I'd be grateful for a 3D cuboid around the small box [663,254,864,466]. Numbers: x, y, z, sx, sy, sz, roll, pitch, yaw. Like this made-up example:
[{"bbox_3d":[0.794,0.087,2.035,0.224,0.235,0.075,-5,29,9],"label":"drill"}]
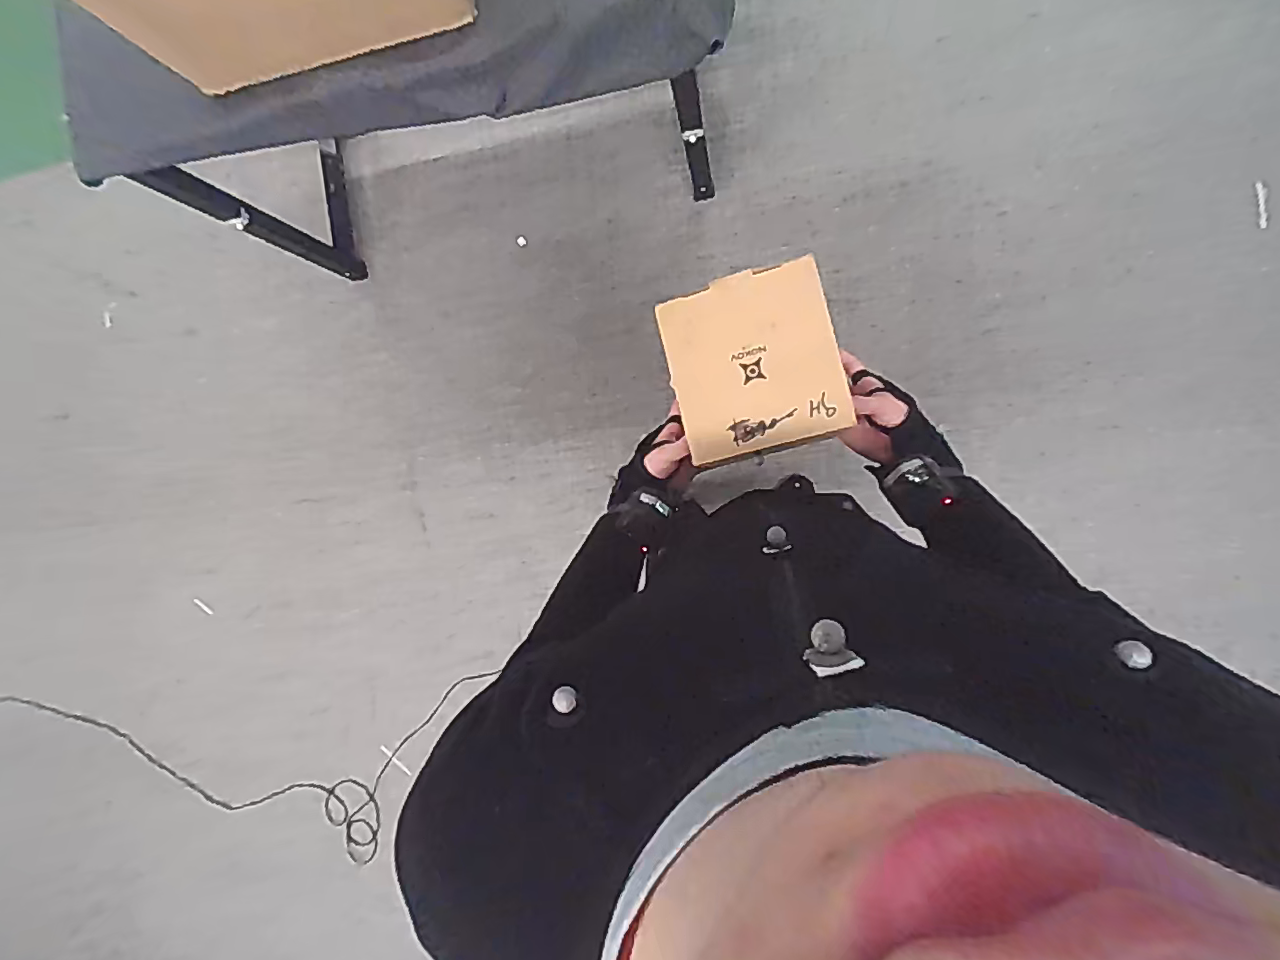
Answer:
[{"bbox_3d":[0.138,-0.119,0.618,0.168,0.176,0.179,-15,87,14],"label":"small box"}]
